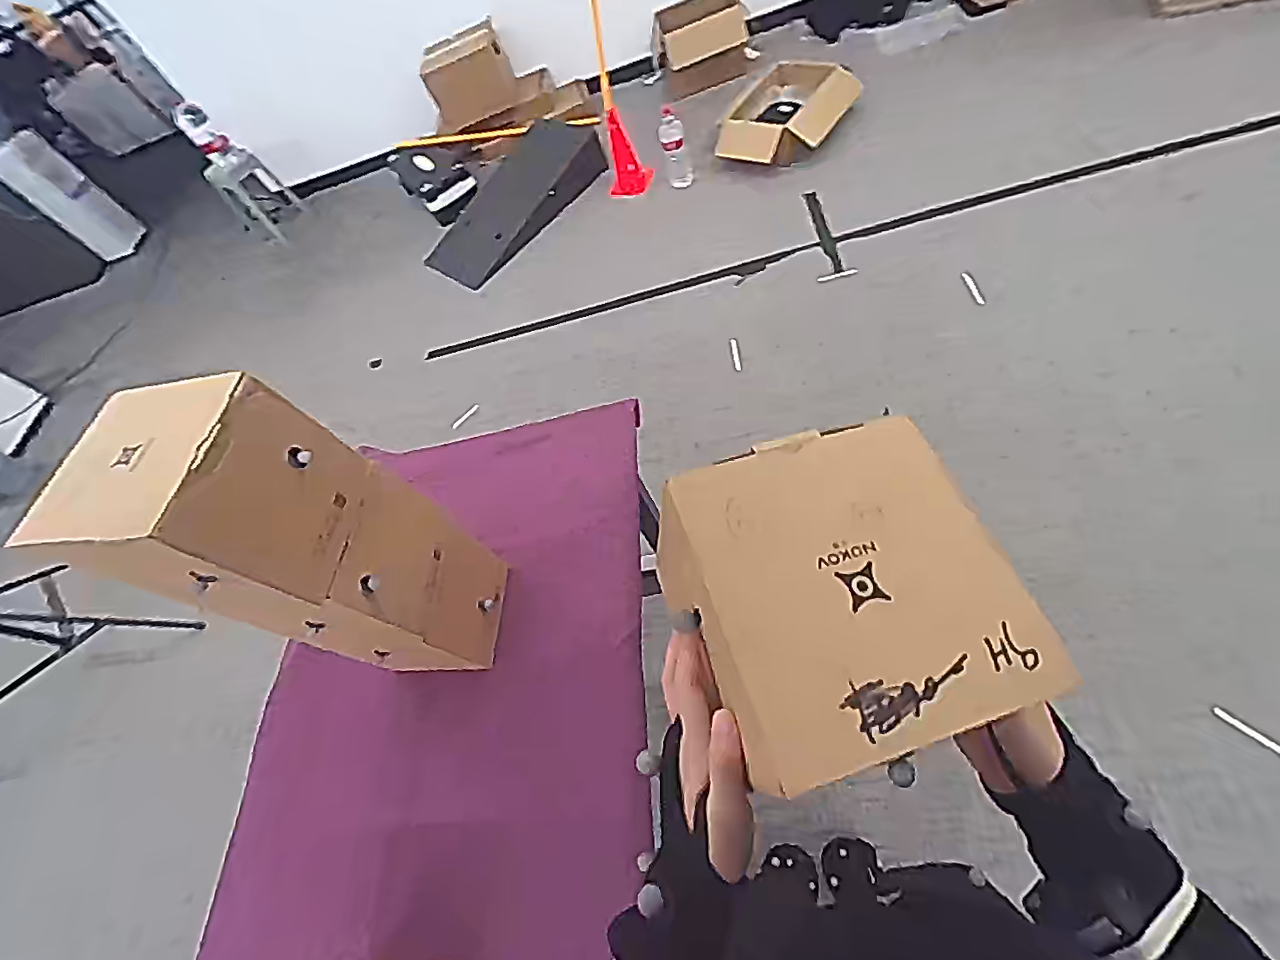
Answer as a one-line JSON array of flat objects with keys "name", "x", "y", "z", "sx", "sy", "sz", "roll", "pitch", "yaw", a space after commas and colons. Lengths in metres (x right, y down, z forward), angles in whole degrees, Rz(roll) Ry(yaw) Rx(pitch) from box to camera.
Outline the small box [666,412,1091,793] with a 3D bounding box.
[{"name": "small box", "x": 0.118, "y": 0.088, "z": 0.359, "sx": 0.168, "sy": 0.176, "sz": 0.179, "roll": -16, "pitch": 63, "yaw": -7}]

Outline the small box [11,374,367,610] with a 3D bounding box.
[{"name": "small box", "x": -0.408, "y": 0.023, "z": 0.526, "sx": 0.179, "sy": 0.176, "sz": 0.168, "roll": -6, "pitch": 58, "yaw": 17}]

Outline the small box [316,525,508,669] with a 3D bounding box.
[{"name": "small box", "x": -0.323, "y": 0.181, "z": 0.800, "sx": 0.179, "sy": 0.176, "sz": 0.168, "roll": -6, "pitch": 60, "yaw": 15}]
